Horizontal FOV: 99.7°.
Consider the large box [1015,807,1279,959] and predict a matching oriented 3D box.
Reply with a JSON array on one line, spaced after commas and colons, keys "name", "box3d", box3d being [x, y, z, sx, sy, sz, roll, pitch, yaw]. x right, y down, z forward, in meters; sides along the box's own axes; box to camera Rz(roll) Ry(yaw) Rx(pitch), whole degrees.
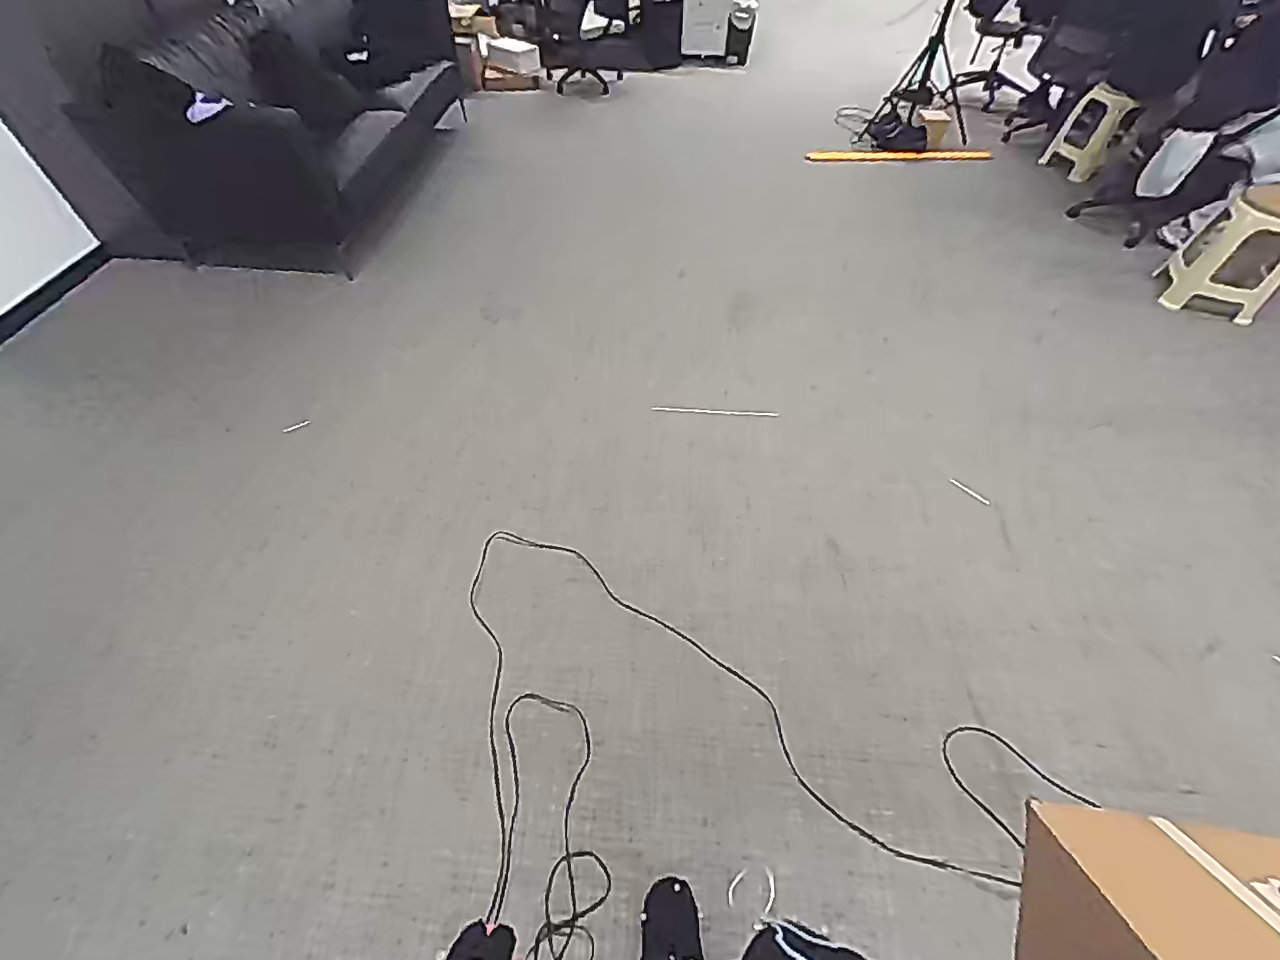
[{"name": "large box", "box3d": [0.658, 0.635, 0.564, 0.320, 0.408, 0.320, 4, 92, 11]}]
